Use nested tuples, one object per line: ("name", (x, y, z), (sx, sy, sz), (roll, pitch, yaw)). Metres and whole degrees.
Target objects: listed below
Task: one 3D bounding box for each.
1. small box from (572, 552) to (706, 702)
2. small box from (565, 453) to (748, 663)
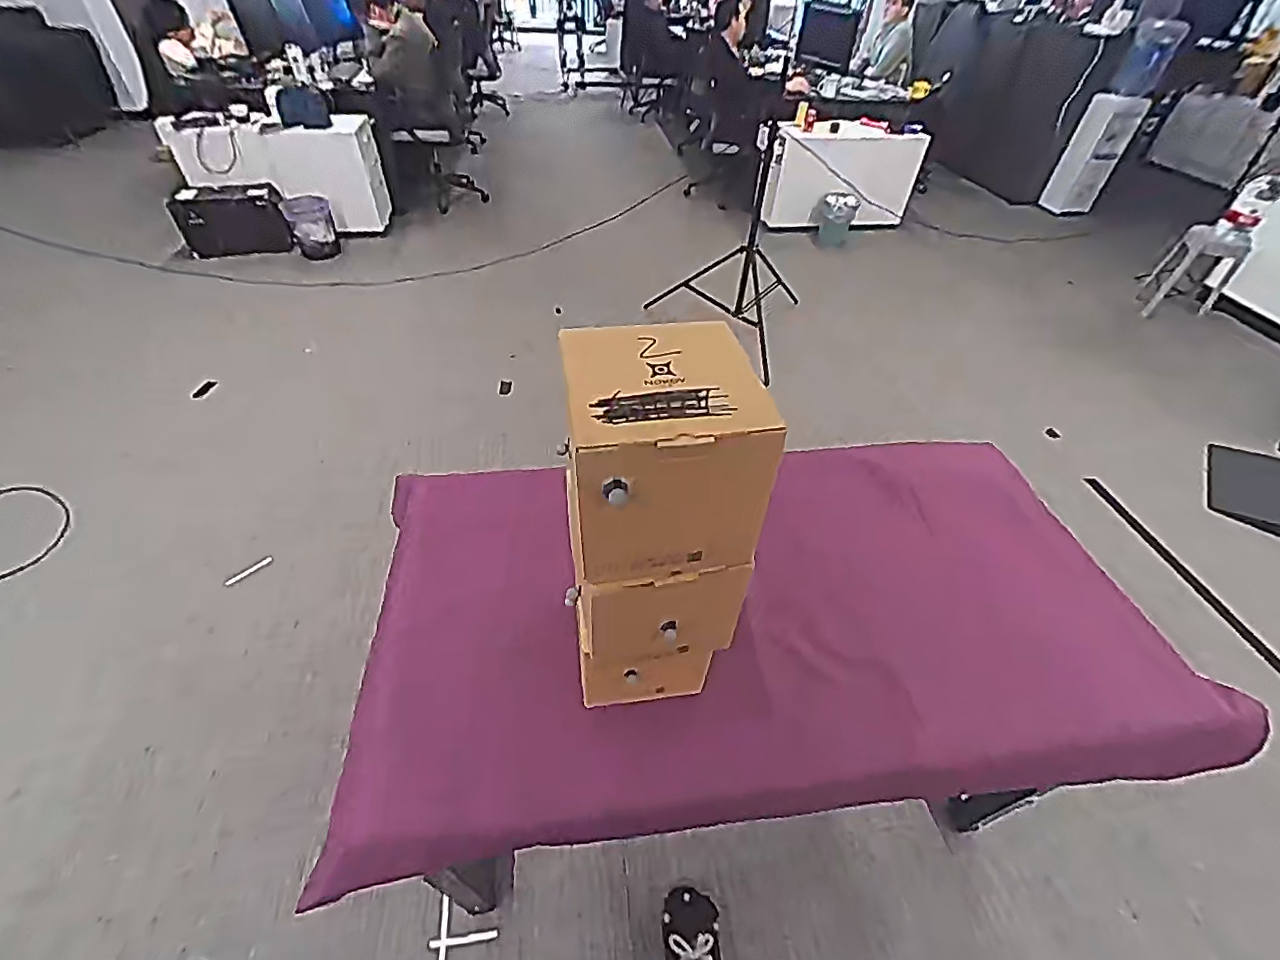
("small box", (-0.004, 0.195, 0.761), (0.168, 0.176, 0.179), (-5, 46, -8))
("small box", (0.009, 0.095, 0.630), (0.168, 0.176, 0.179), (-8, 47, -11))
